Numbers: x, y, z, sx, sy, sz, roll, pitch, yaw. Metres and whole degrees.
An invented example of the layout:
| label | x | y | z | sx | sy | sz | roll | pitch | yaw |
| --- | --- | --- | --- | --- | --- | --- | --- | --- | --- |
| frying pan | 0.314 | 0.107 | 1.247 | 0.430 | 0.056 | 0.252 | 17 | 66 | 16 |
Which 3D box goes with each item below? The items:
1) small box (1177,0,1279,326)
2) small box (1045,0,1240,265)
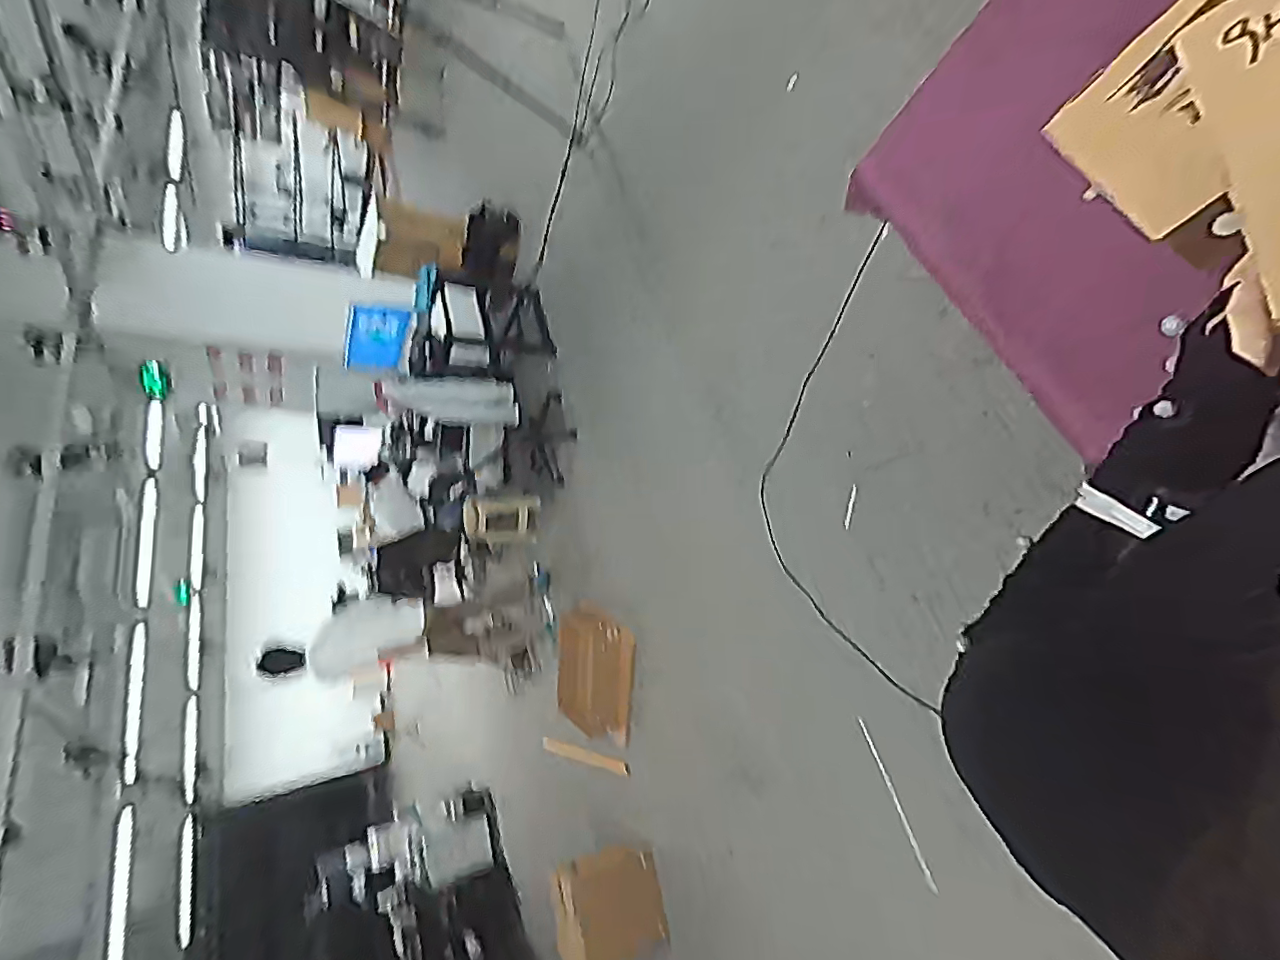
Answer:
| label | x | y | z | sx | sy | sz | roll | pitch | yaw |
| --- | --- | --- | --- | --- | --- | --- | --- | --- | --- |
| small box | 0.435 | -0.196 | 0.286 | 0.168 | 0.176 | 0.179 | -19 | 83 | 53 |
| small box | 0.554 | -0.337 | 0.523 | 0.168 | 0.176 | 0.179 | -48 | 54 | 47 |
